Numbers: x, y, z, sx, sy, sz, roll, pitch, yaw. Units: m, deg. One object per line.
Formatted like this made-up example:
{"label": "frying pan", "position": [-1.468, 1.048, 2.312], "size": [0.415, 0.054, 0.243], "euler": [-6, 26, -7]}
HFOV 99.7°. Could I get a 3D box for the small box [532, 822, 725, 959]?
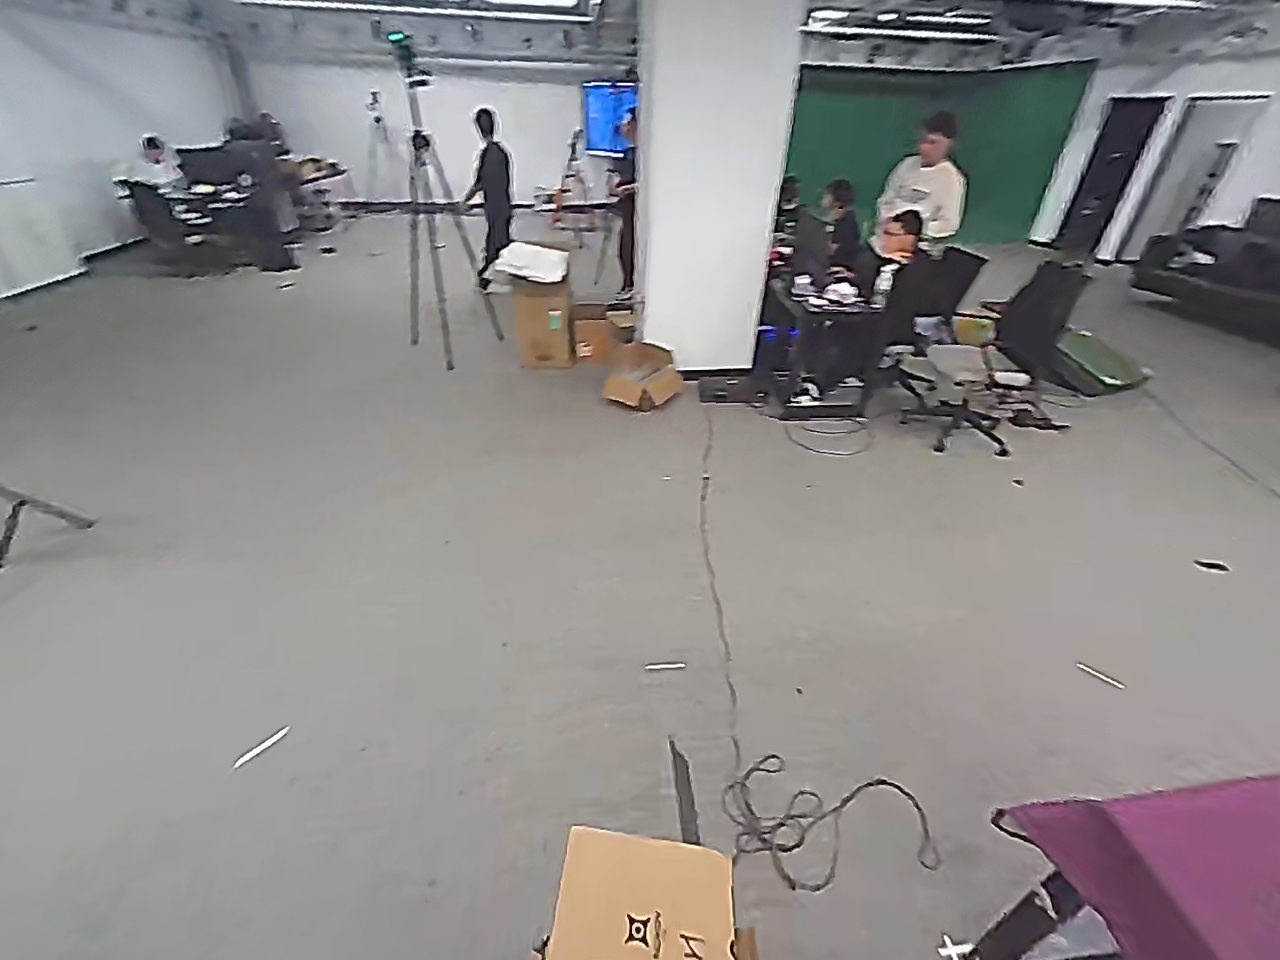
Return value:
{"label": "small box", "position": [-0.019, 0.485, 0.546], "size": [0.179, 0.176, 0.168], "euler": [11, 32, -2]}
